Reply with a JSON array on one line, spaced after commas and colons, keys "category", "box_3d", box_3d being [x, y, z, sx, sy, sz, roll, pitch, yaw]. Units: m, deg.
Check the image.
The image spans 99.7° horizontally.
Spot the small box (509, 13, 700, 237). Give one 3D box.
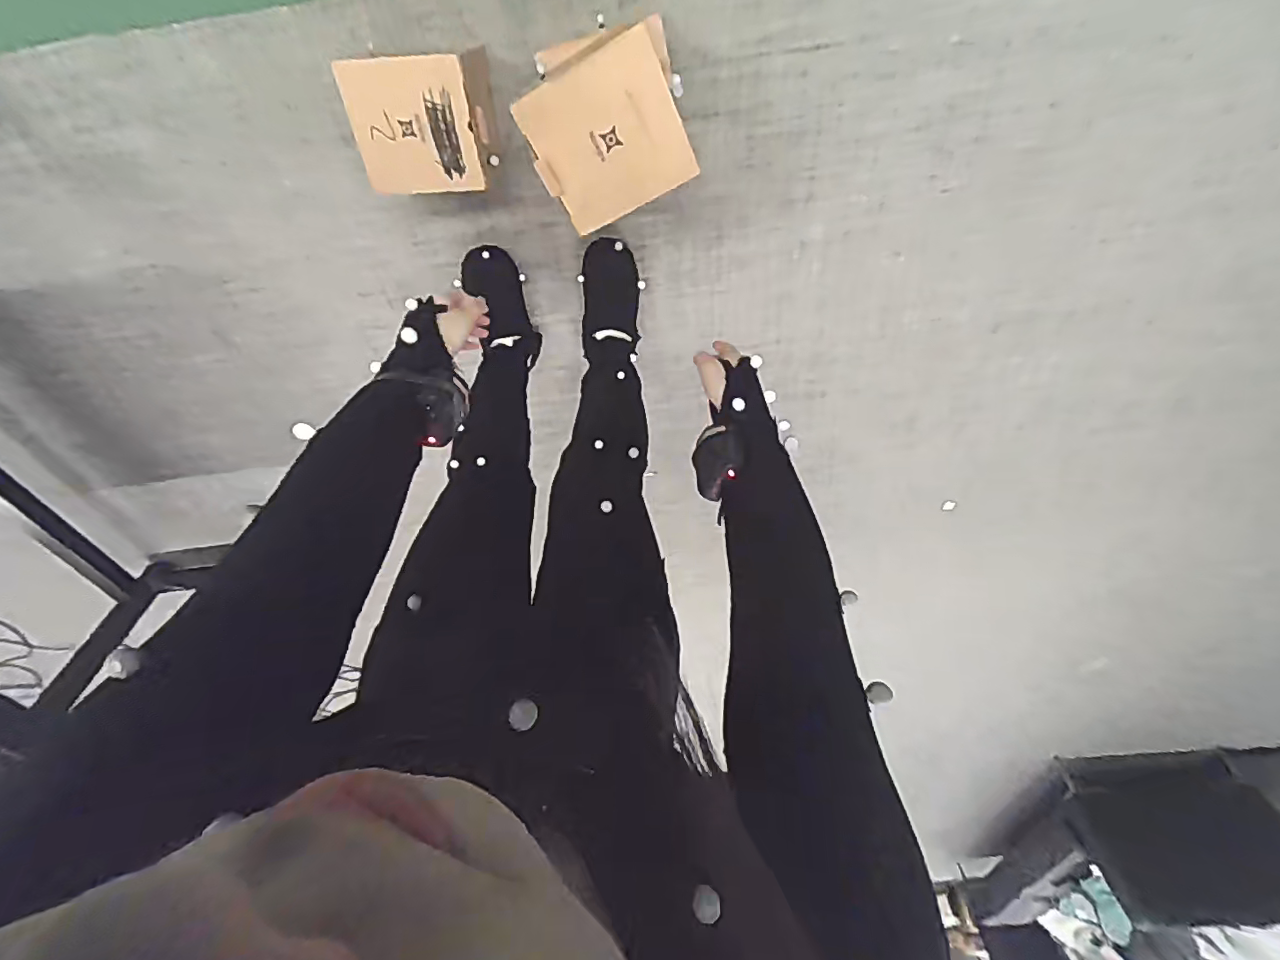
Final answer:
[{"category": "small box", "box_3d": [-0.039, -0.451, 0.690, 0.179, 0.176, 0.168, -22, 131, 16]}]

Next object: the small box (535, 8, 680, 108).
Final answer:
[{"category": "small box", "box_3d": [-0.037, -0.569, 0.801, 0.179, 0.176, 0.168, -12, 132, 8]}]
